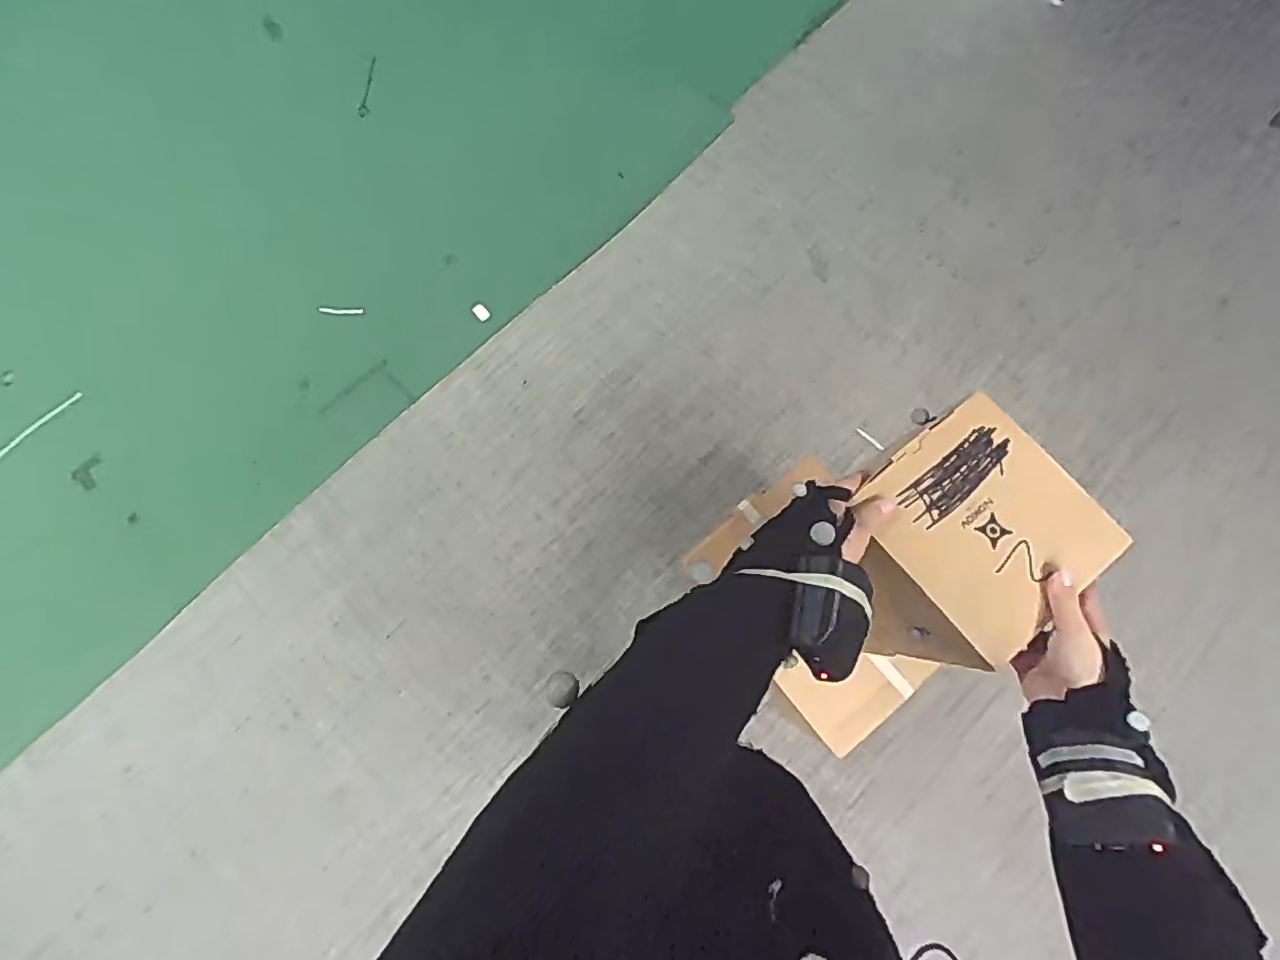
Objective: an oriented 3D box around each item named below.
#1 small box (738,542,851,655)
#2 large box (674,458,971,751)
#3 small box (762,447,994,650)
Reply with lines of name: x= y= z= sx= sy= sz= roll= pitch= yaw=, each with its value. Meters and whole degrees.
small box: x=0.276 y=0.145 z=0.837 sx=0.168 sy=0.176 sz=0.179 roll=-37 pitch=77 yaw=-8
large box: x=0.314 y=0.230 z=1.064 sx=0.320 sy=0.320 sz=0.408 roll=-39 pitch=79 yaw=-6
small box: x=0.279 y=0.092 z=0.683 sx=0.168 sy=0.176 sz=0.179 roll=-38 pitch=79 yaw=-8
